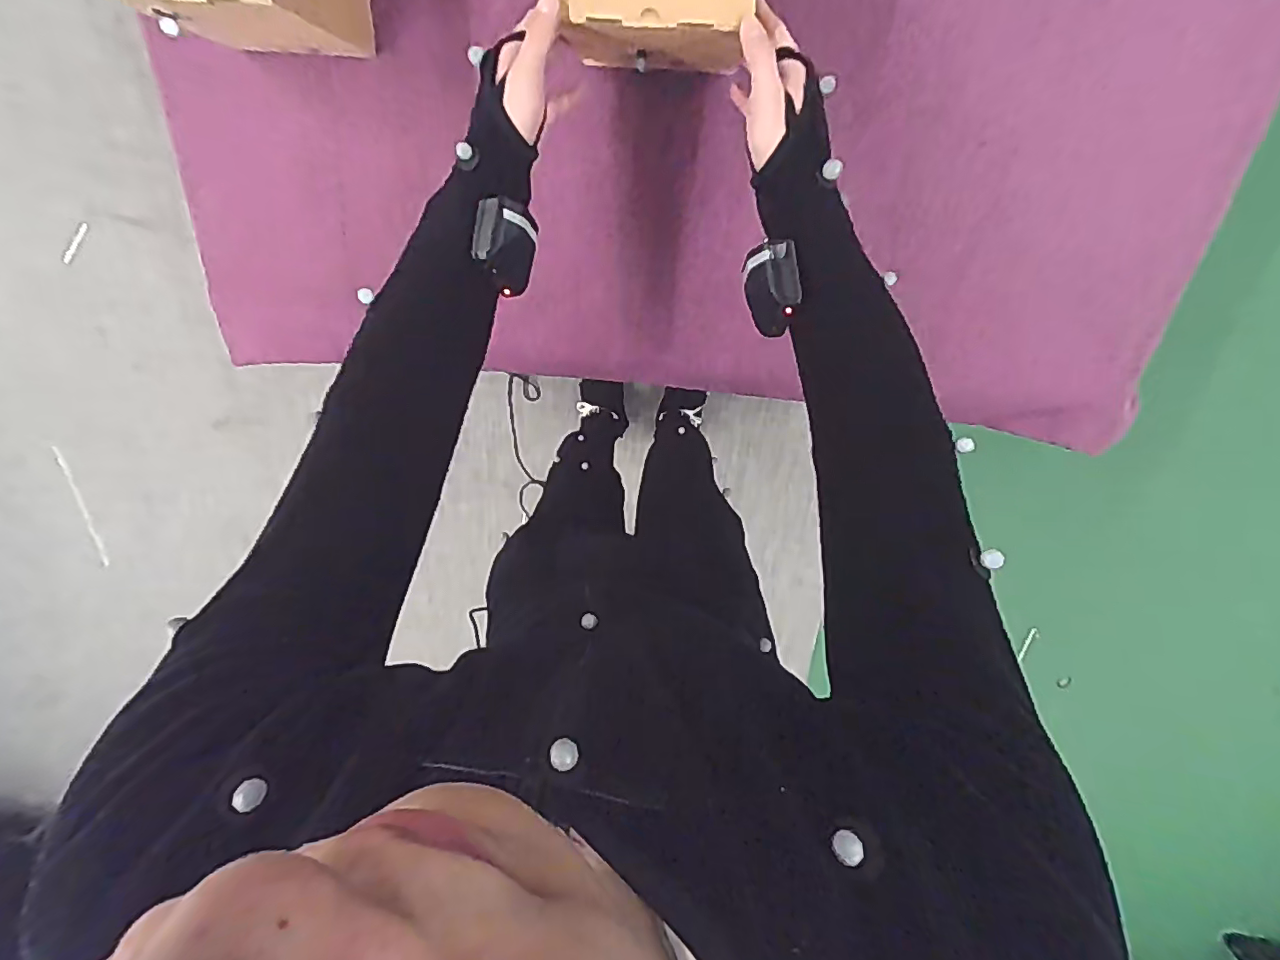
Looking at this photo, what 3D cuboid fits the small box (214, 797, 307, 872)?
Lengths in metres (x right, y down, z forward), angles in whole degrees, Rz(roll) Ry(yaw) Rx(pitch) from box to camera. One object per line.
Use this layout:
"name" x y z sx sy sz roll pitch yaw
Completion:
"small box" -1.303 1.244 1.870 0.179 0.176 0.168 -37 107 19

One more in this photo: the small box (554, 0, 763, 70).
"small box" 0.023 -0.476 0.458 0.168 0.176 0.179 5 120 1

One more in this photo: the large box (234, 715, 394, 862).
"large box" -1.263 1.201 2.118 0.408 0.320 0.320 28 115 -9
